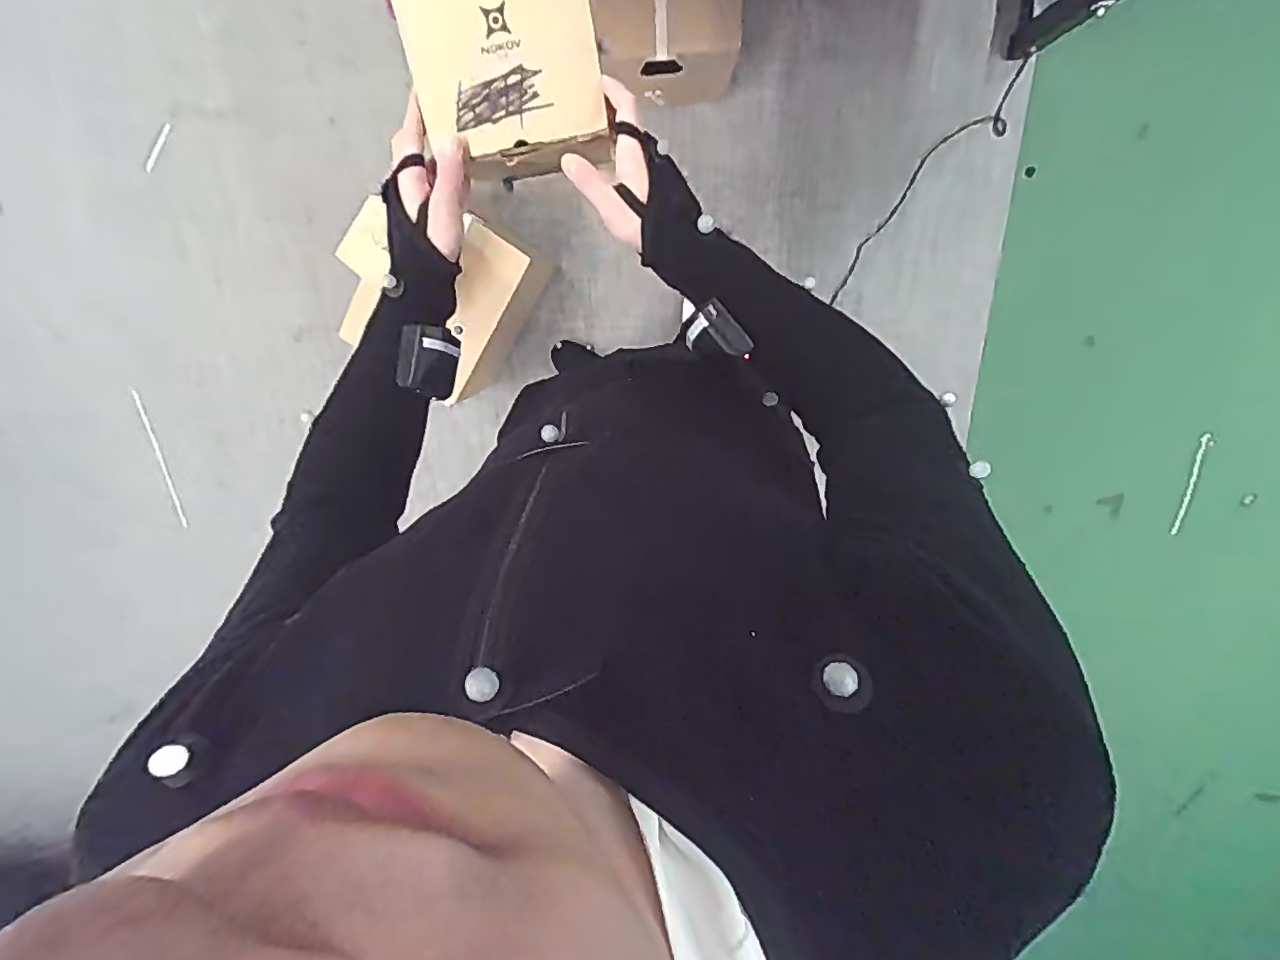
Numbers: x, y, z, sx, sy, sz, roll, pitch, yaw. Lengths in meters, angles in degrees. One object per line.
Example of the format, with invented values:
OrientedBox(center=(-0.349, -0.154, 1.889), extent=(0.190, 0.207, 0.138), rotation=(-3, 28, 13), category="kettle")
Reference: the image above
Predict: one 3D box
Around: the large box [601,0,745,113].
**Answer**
OrientedBox(center=(0.045, -1.052, 1.124), extent=(0.320, 0.320, 0.408), rotation=(-2, 109, 4), category="large box")

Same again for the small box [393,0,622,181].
OrientedBox(center=(-0.114, -0.404, 0.526), extent=(0.168, 0.176, 0.179), rotation=(-8, 112, 5), category="small box")

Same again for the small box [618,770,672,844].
OrientedBox(center=(0.023, 1.174, 1.949), extent=(0.179, 0.176, 0.168), rotation=(-5, 109, 5), category="small box")
